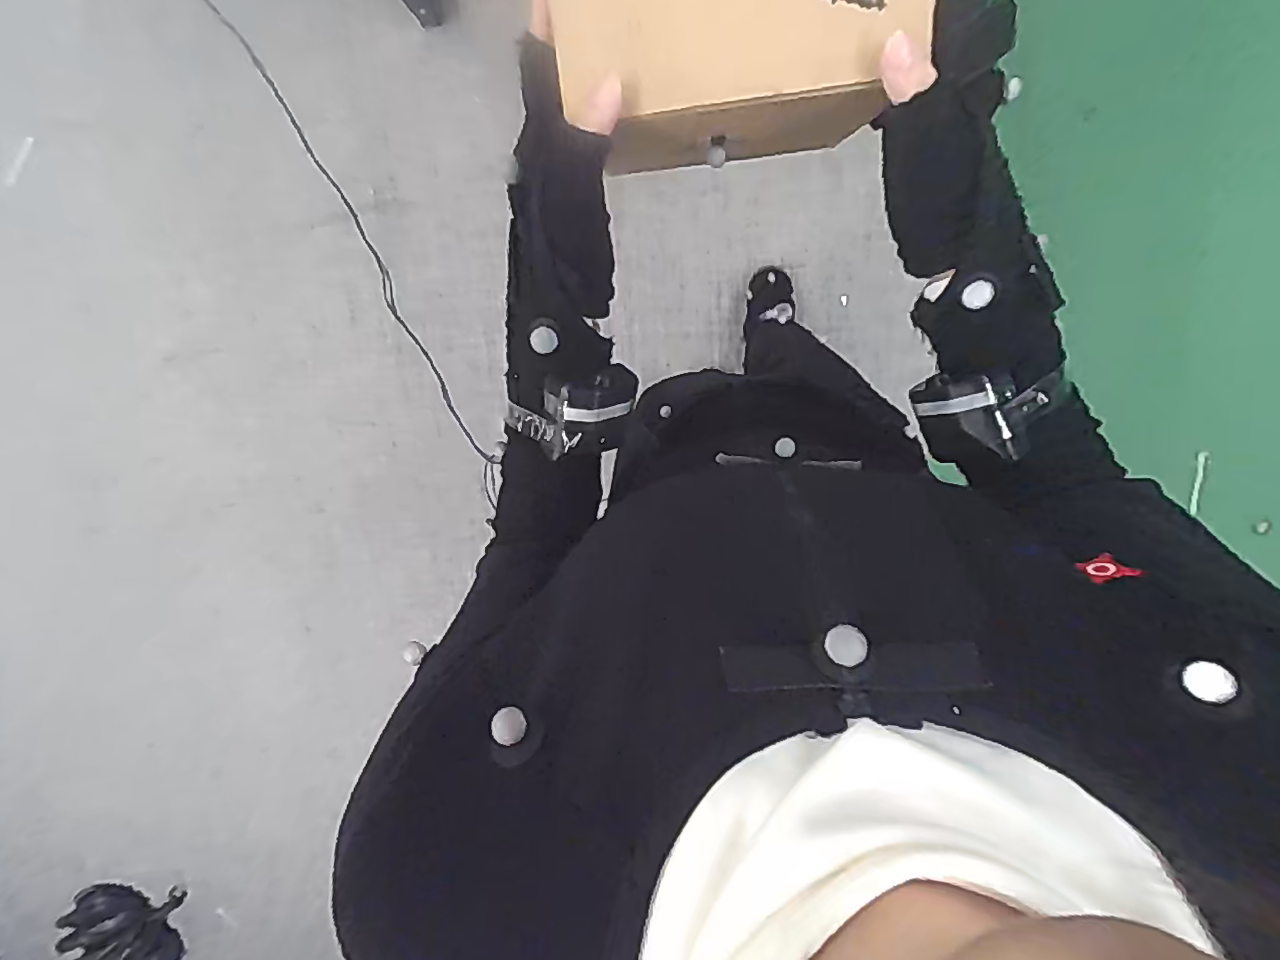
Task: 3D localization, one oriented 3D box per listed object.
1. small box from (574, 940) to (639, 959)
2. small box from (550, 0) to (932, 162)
[{"bbox_3d":[-0.087,1.354,1.419,0.179,0.176,0.168,-6,103,6],"label":"small box"},{"bbox_3d":[0.045,-0.293,0.304,0.179,0.176,0.168,-4,112,6],"label":"small box"}]
